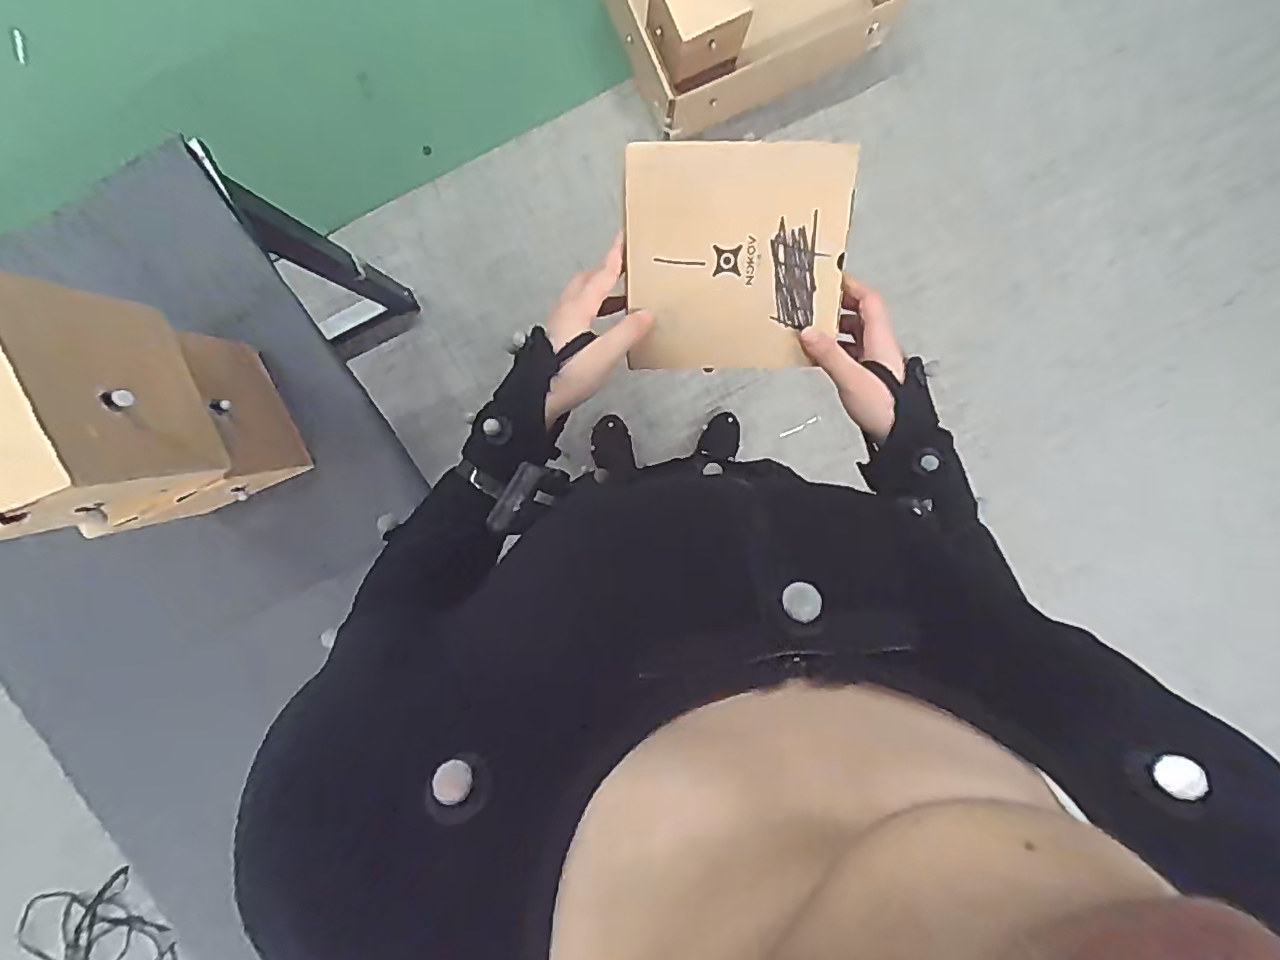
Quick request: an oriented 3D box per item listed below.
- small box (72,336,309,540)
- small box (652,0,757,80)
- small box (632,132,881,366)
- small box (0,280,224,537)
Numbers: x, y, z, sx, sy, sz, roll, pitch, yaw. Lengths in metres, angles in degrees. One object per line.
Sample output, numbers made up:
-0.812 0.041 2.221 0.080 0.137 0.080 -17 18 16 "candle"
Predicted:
-0.529 -0.056 0.622 0.168 0.176 0.179 -23 96 0 "small box"
0.135 -1.060 1.221 0.179 0.176 0.168 -26 98 -1 "small box"
0.084 -0.199 0.486 0.179 0.176 0.168 -1 111 -1 "small box"
-0.512 -0.055 0.458 0.168 0.176 0.179 -20 98 0 "small box"
